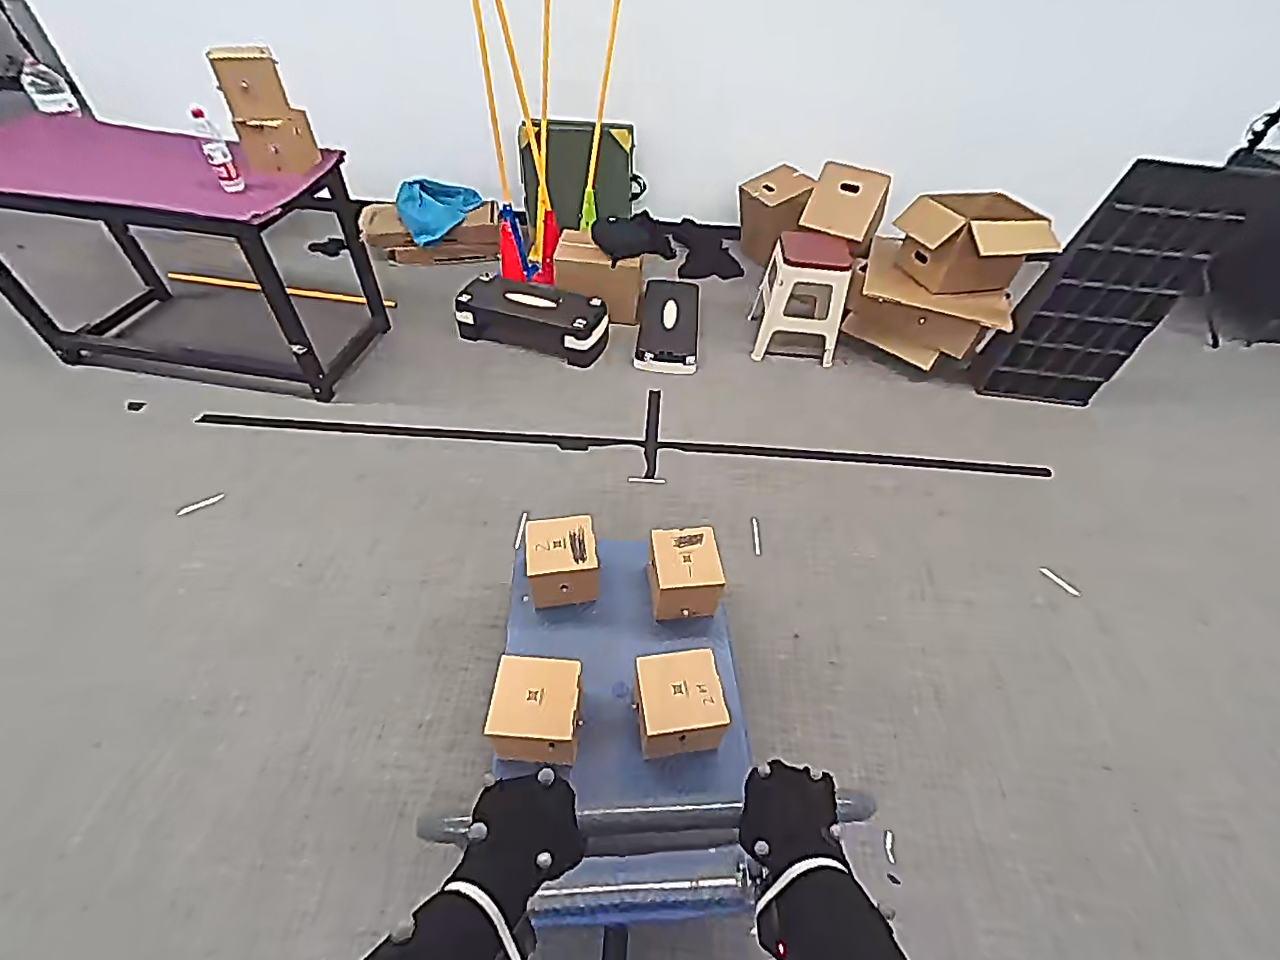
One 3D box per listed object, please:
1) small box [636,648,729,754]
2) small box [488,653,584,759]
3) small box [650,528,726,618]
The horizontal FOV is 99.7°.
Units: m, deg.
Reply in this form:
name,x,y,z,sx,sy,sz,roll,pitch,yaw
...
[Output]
name,x,y,z,sx,sy,sz,roll,pitch,yaw
small box,0.086,0.498,1.212,0.179,0.176,0.168,-4,49,-7
small box,-0.219,0.499,1.189,0.179,0.176,0.168,6,48,-1
small box,0.120,0.248,1.438,0.168,0.176,0.179,-3,50,-6
